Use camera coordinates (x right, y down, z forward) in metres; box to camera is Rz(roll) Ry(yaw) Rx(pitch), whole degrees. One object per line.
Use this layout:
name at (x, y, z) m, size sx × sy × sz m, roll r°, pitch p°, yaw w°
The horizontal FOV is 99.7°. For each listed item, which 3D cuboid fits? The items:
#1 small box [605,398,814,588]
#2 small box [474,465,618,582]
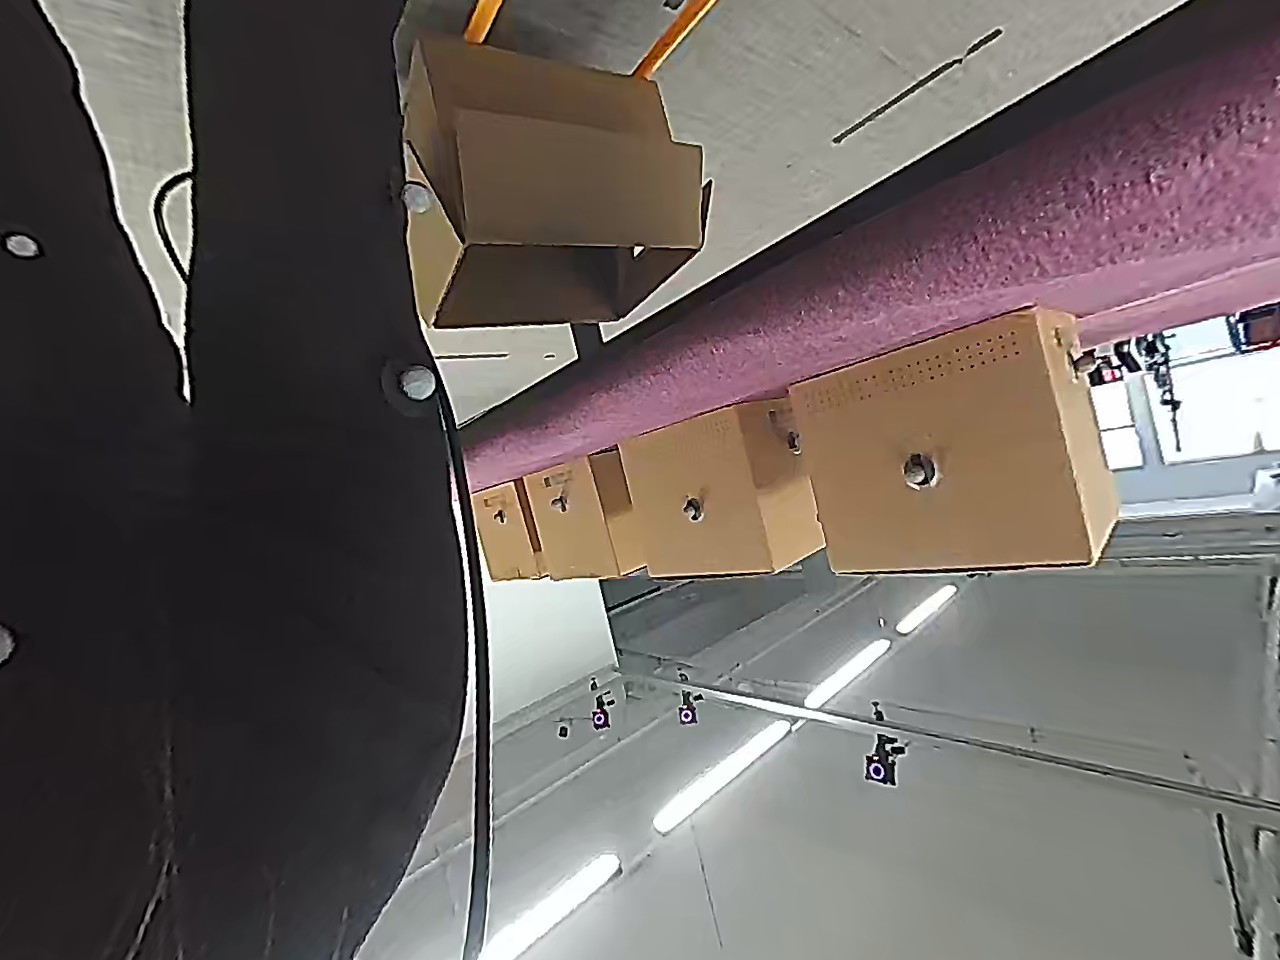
small box at (0.078, 0.028, 0.669) m, size 0.168 × 0.176 × 0.179 m, roll 28°, pitch 162°, yaw -15°
small box at (-0.170, 0.076, 0.972) m, size 0.179 × 0.176 × 0.168 m, roll -15°, pitch -179°, yaw -44°
